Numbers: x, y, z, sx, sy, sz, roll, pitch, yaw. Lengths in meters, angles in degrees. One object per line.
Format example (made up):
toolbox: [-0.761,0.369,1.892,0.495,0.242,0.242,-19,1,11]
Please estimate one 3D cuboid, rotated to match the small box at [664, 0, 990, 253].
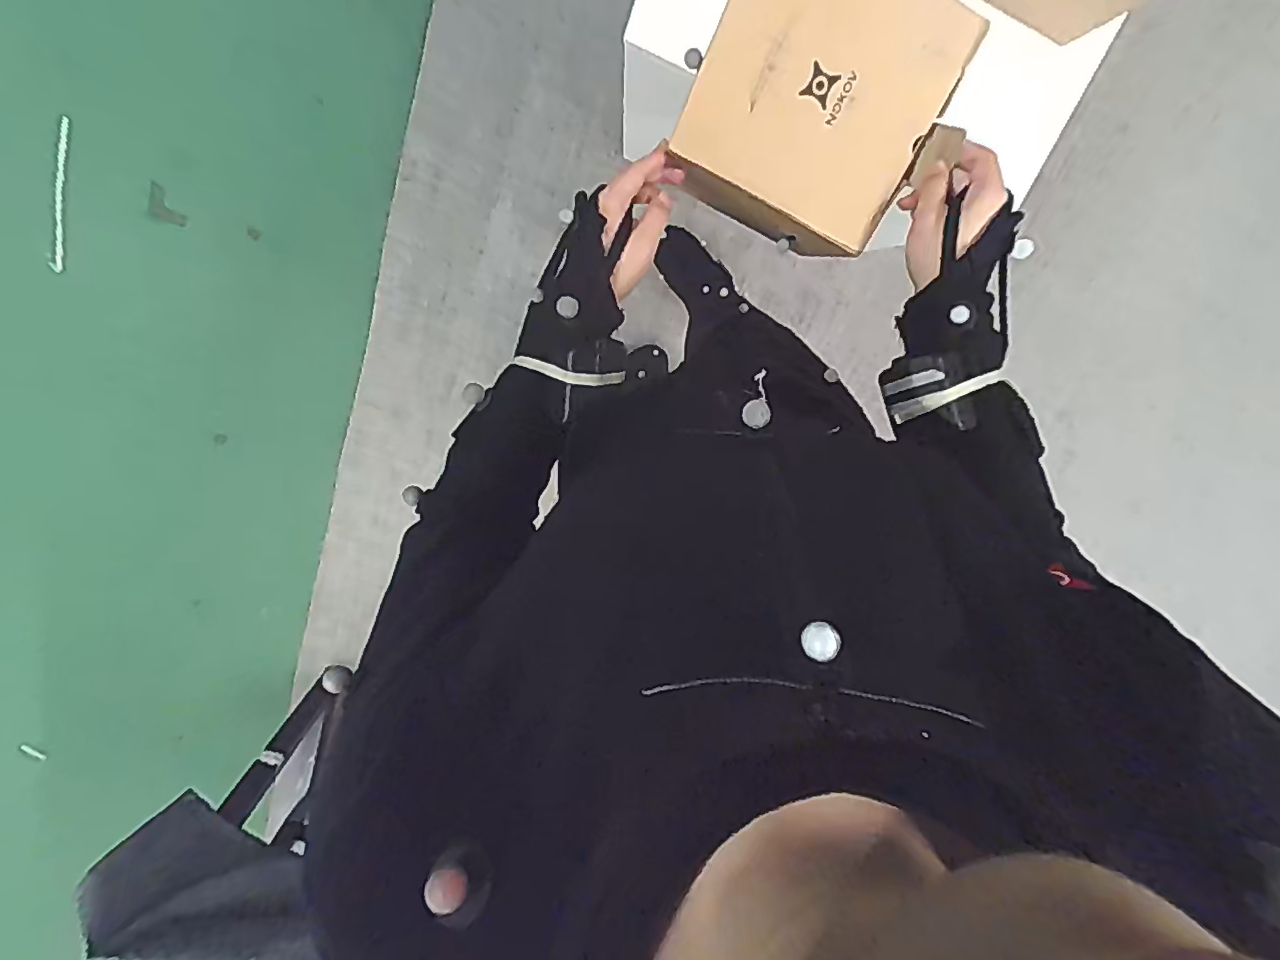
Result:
small box: [0.133,-0.311,0.462,0.179,0.176,0.168,22,109,-9]
